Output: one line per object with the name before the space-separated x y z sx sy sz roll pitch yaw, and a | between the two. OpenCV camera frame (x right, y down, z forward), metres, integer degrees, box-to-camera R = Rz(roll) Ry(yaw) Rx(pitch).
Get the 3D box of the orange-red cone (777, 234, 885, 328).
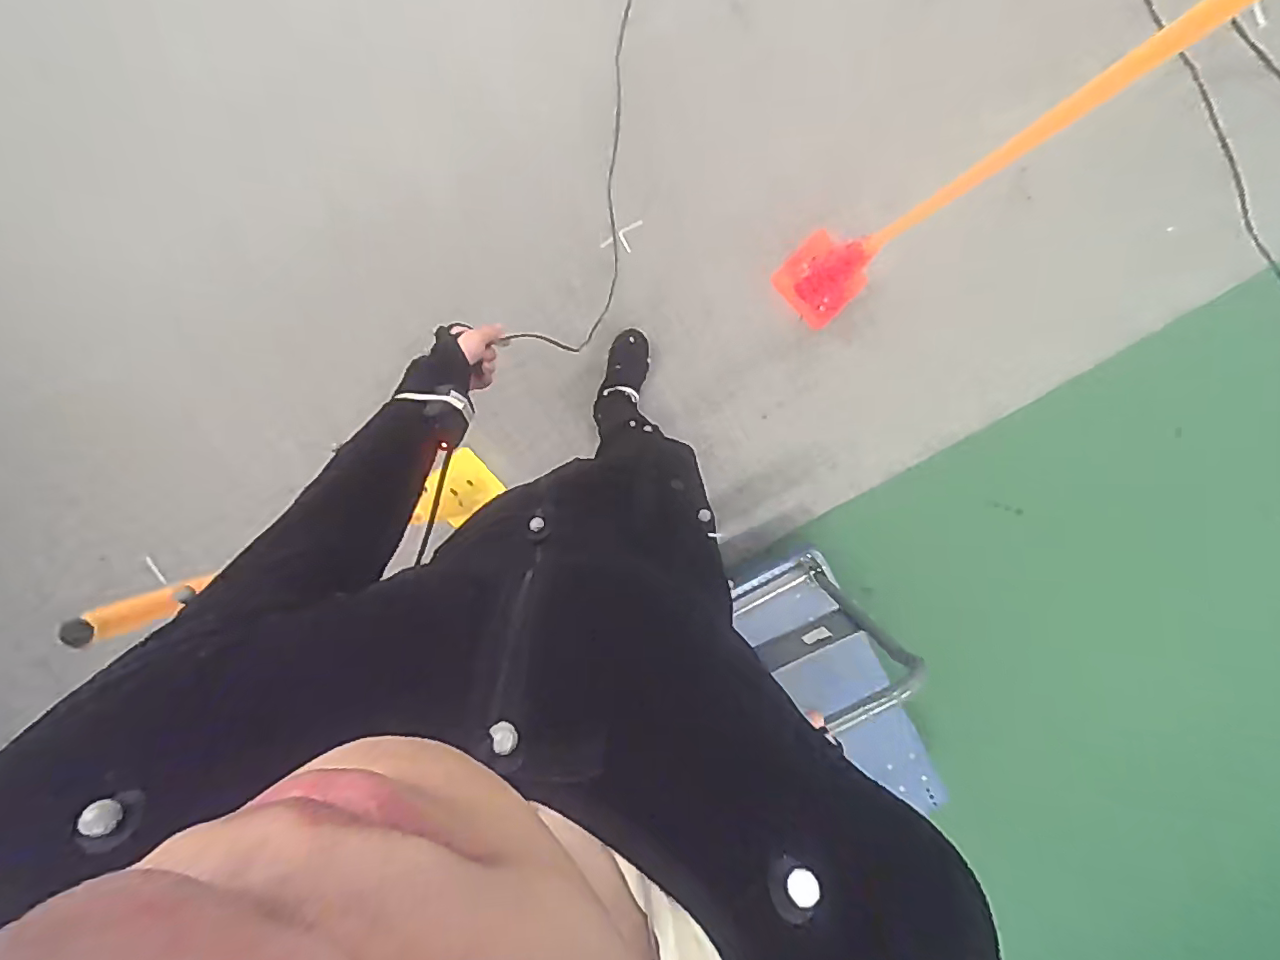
orange-red cone | 0.507 -0.526 1.329 0.199 0.360 0.198 -45 96 5
